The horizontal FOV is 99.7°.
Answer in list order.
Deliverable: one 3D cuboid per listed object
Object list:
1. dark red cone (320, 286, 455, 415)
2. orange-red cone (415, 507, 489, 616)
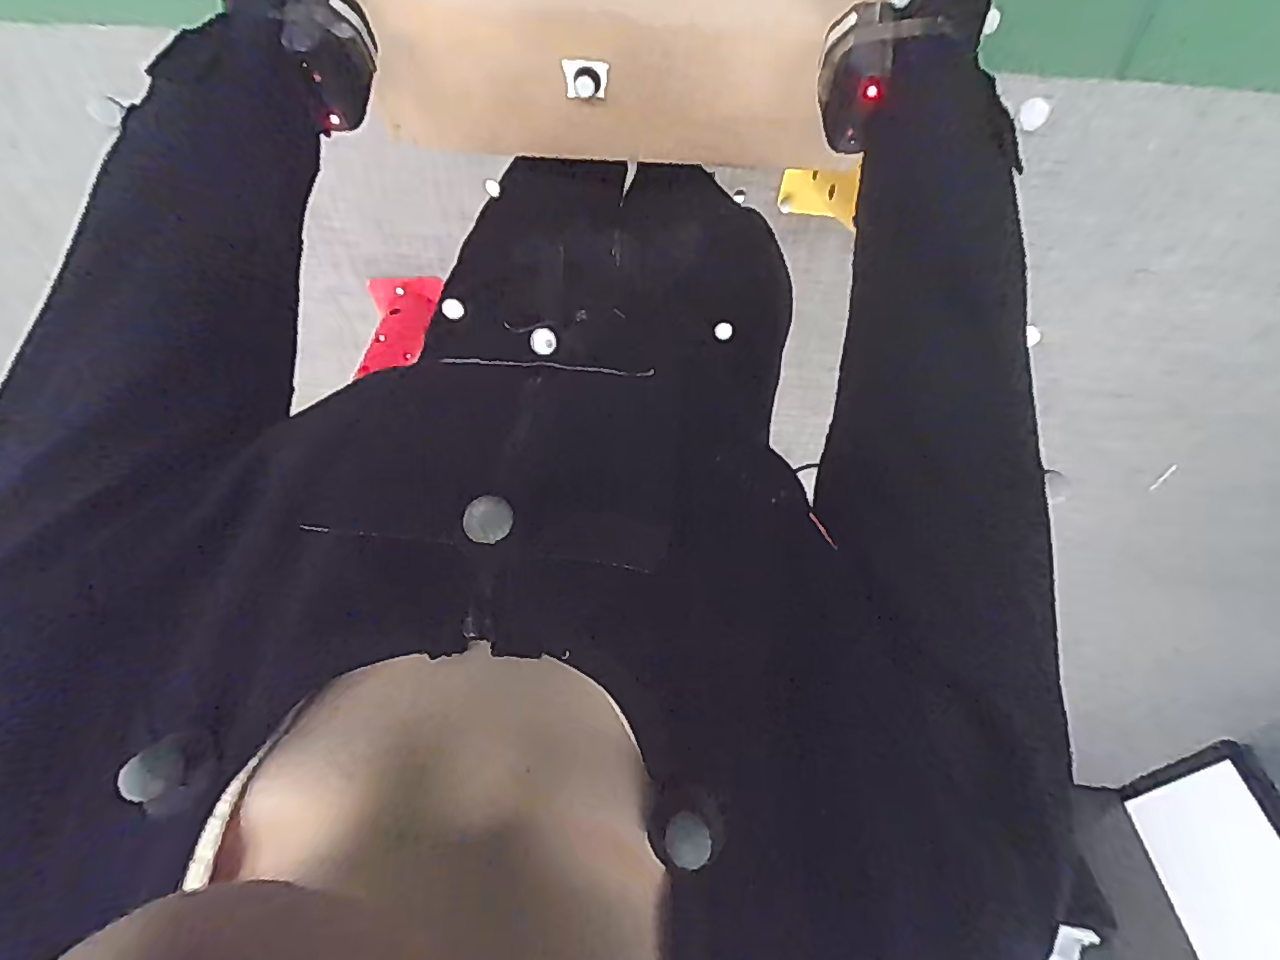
[{"bbox_3d":[-0.590,-0.271,1.213,0.202,0.394,0.201,0,132,8],"label":"dark red cone"},{"bbox_3d":[-0.673,0.297,1.821,0.199,0.360,0.198,21,133,-10],"label":"orange-red cone"}]
